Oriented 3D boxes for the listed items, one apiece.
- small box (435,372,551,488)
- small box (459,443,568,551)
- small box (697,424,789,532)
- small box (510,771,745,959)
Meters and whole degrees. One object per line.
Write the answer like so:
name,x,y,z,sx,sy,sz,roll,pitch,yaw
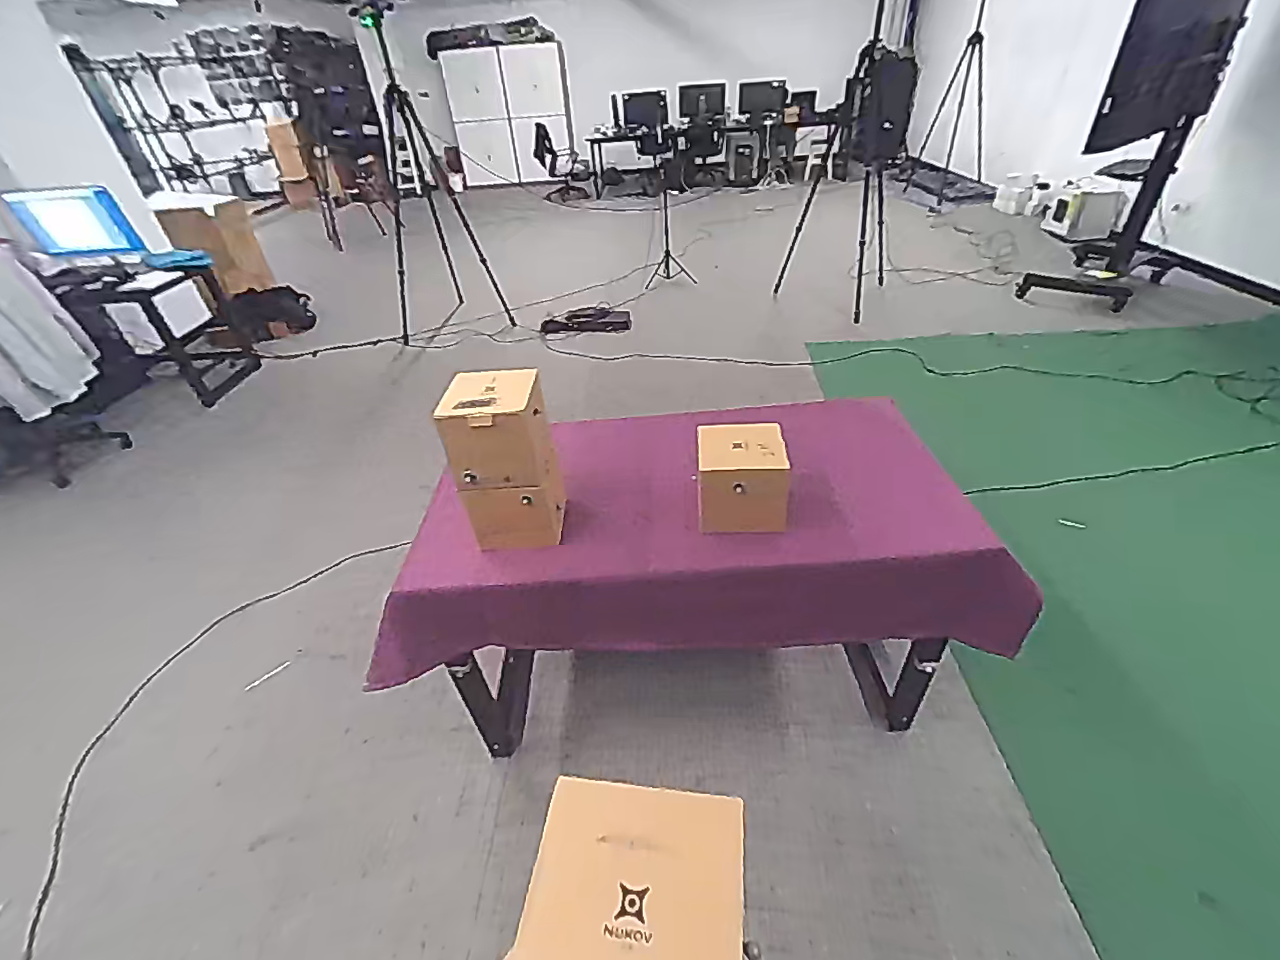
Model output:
small box,-0.278,-0.094,1.071,0.168,0.176,0.179,-4,36,2
small box,-0.263,0.039,1.167,0.179,0.176,0.168,-3,37,3
small box,0.213,-0.002,1.148,0.179,0.176,0.168,-1,38,6
small box,0.003,0.382,0.459,0.168,0.176,0.179,2,39,11
